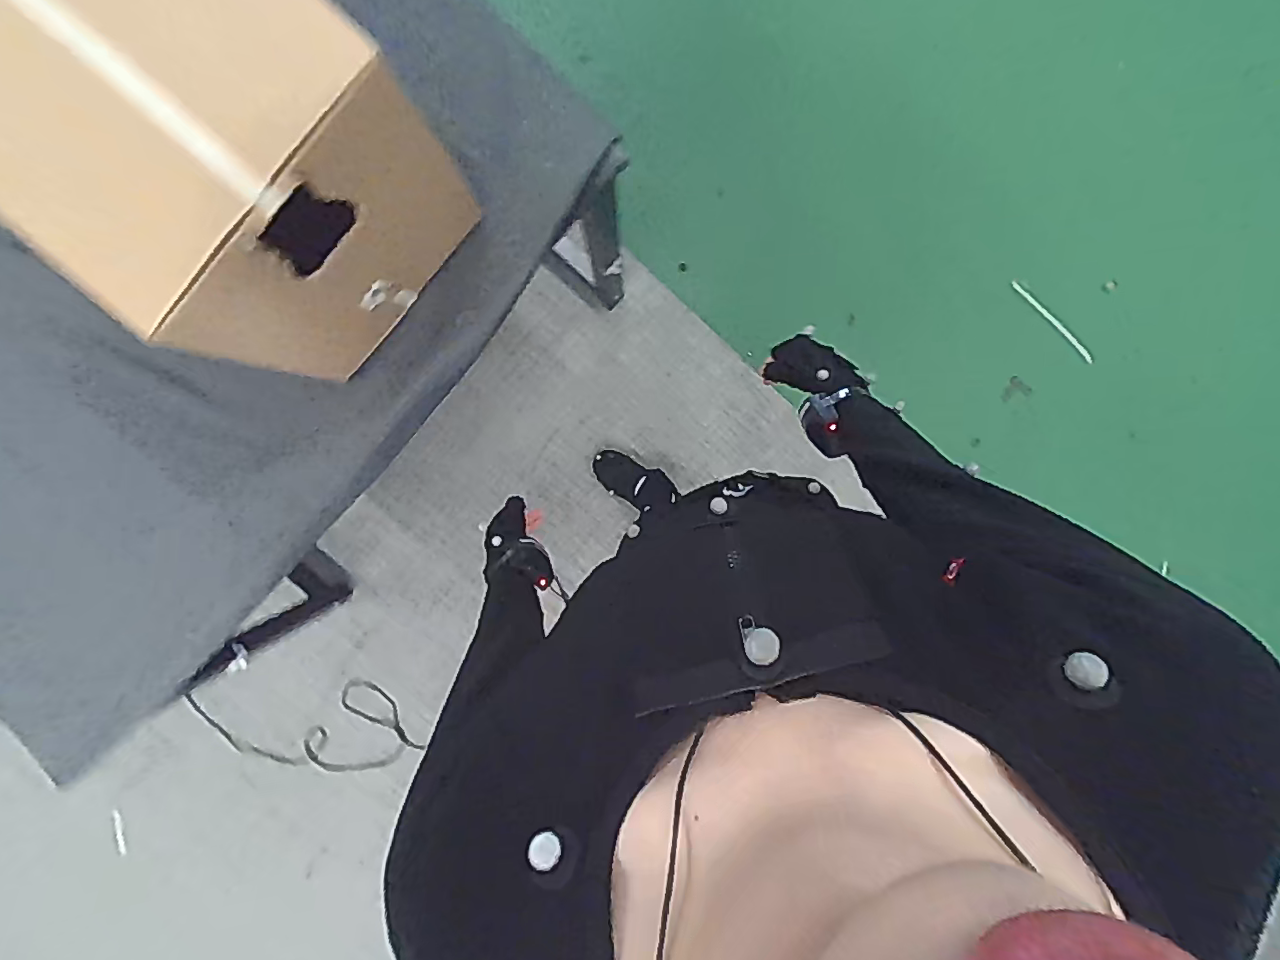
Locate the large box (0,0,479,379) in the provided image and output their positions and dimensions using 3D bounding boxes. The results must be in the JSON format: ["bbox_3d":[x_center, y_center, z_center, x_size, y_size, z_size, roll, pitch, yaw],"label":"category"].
[{"bbox_3d":[-0.464,-0.367,0.597,0.408,0.320,0.320,40,93,-1],"label":"large box"}]
